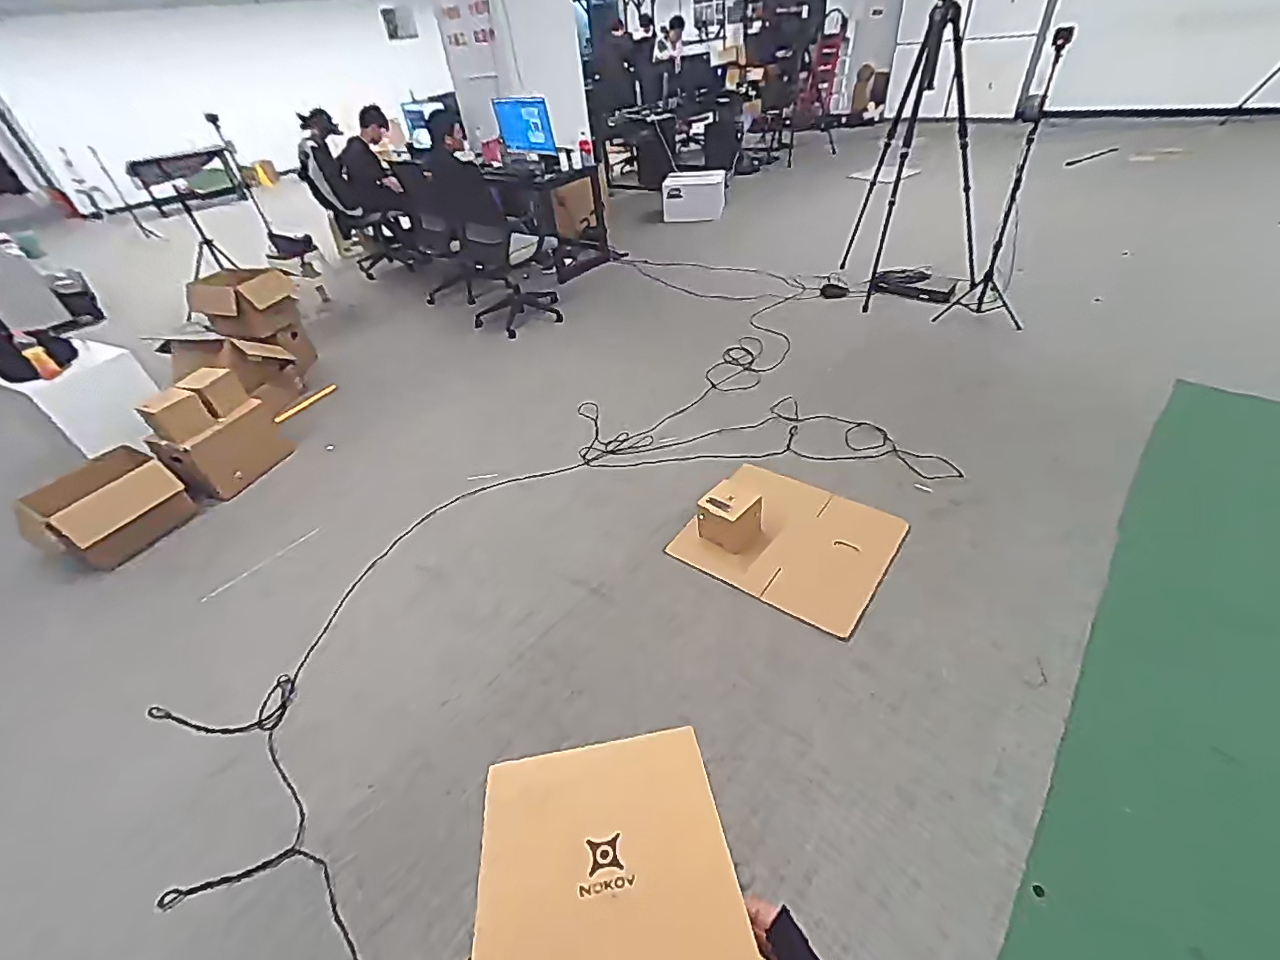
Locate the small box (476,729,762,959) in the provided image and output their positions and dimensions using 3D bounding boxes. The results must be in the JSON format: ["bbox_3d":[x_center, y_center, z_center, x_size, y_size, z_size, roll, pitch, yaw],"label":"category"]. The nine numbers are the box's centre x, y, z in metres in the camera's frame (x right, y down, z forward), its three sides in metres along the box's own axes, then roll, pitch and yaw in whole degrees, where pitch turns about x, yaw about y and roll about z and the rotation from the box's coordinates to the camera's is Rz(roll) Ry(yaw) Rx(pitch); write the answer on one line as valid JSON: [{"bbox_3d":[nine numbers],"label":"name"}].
[{"bbox_3d":[-0.018,0.322,0.394,0.168,0.176,0.179,-7,29,-7],"label":"small box"}]
